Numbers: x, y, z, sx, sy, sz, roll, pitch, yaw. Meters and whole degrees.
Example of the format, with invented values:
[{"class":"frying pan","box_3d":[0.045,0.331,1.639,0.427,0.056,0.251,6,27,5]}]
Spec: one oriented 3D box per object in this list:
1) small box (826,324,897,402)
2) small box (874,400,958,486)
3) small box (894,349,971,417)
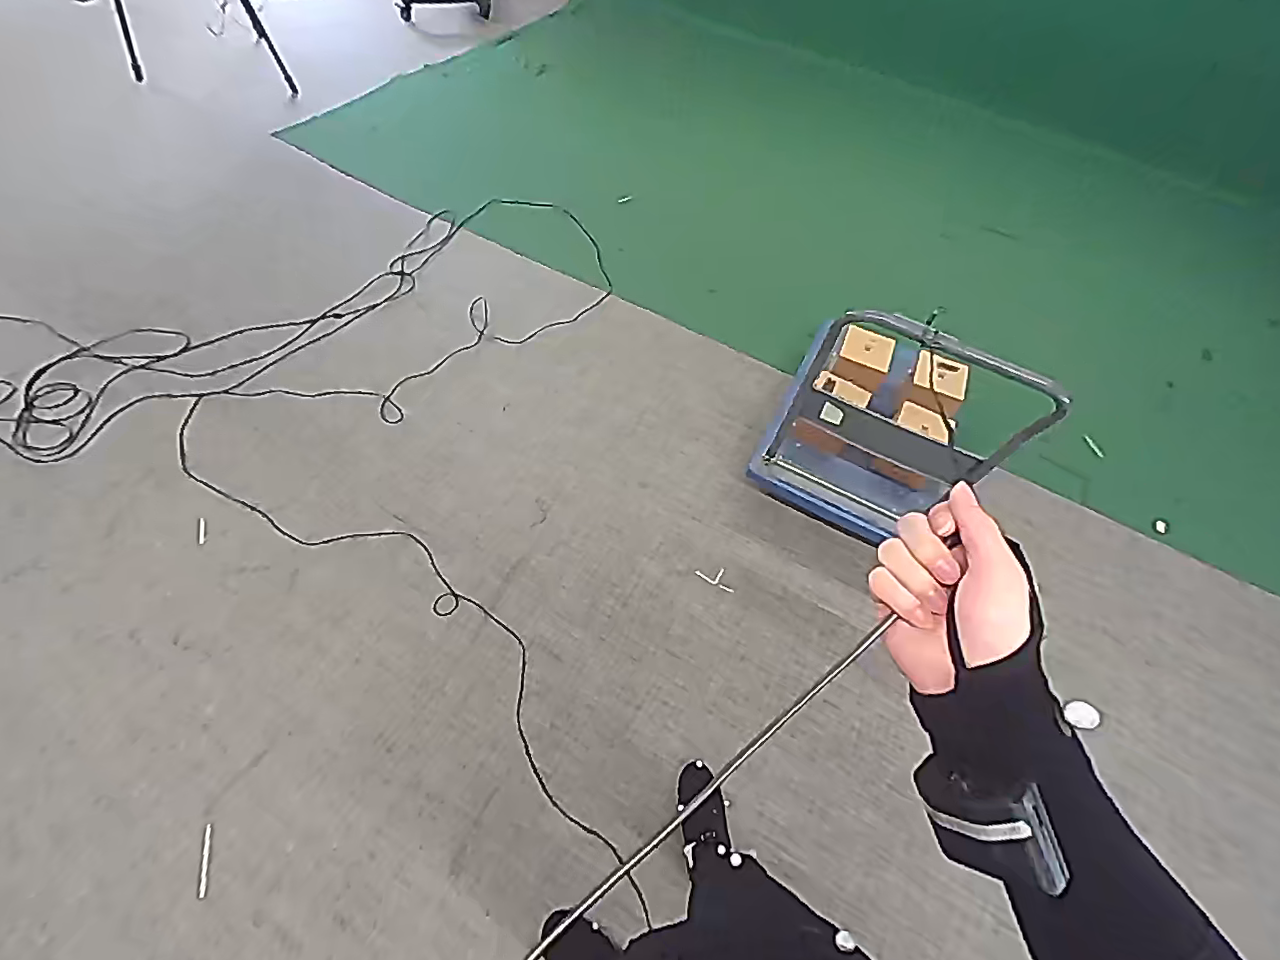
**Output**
[{"class":"small box","box_3d":[0.770,-0.405,1.896,0.168,0.176,0.179,24,58,9]},{"class":"small box","box_3d":[0.871,-0.115,1.717,0.168,0.176,0.179,27,60,12]},{"class":"small box","box_3d":[0.999,-0.309,1.854,0.168,0.176,0.179,23,59,10]}]
